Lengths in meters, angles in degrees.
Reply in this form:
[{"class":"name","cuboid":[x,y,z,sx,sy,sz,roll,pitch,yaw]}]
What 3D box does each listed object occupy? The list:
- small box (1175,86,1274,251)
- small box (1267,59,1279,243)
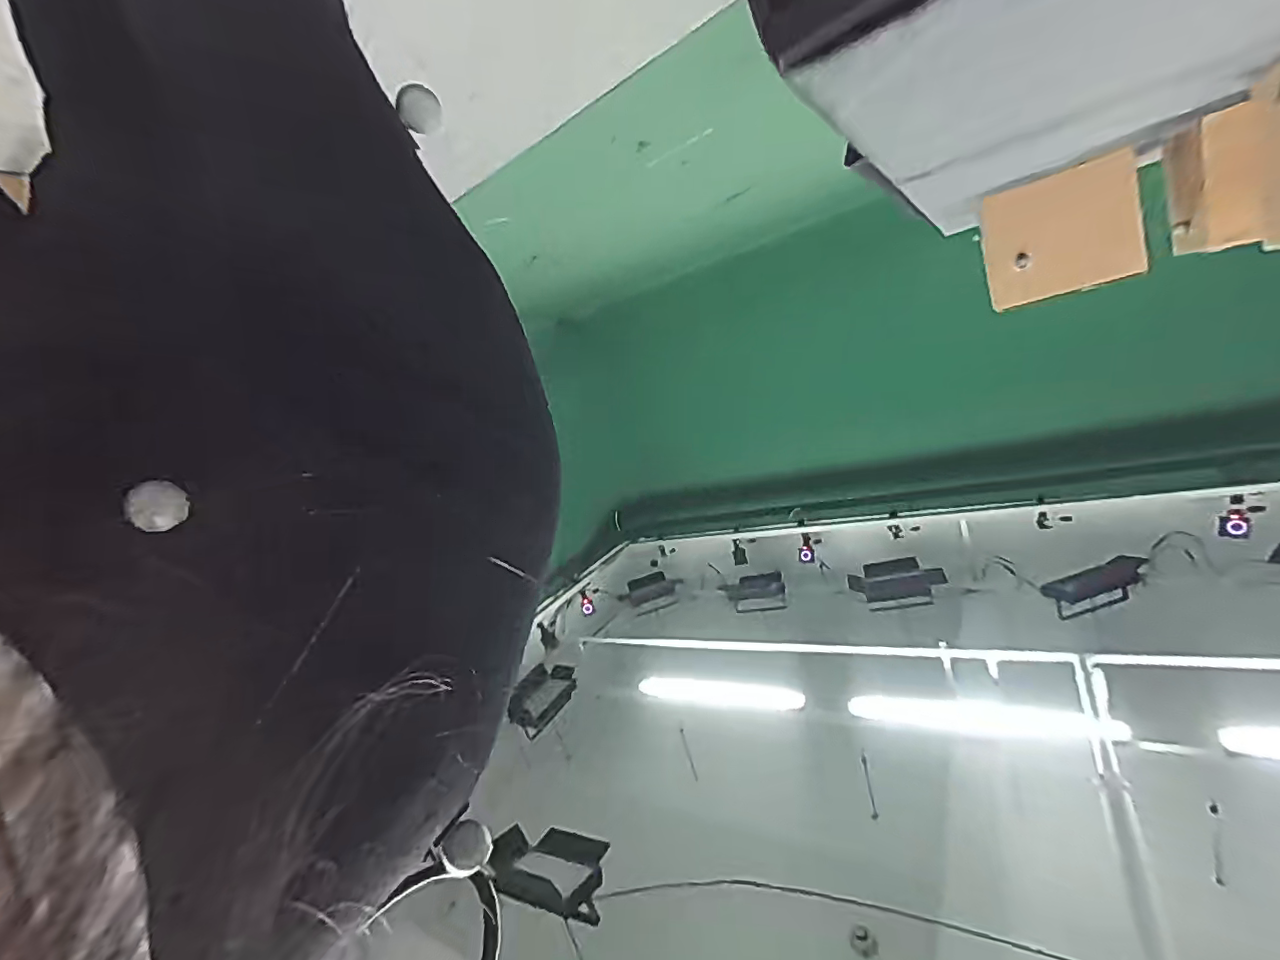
[{"class":"small box","cuboid":[0.821,-0.409,0.691,0.168,0.176,0.179,-10,-168,35]},{"class":"small box","cuboid":[0.660,-0.308,0.427,0.179,0.176,0.168,-10,-168,32]}]
